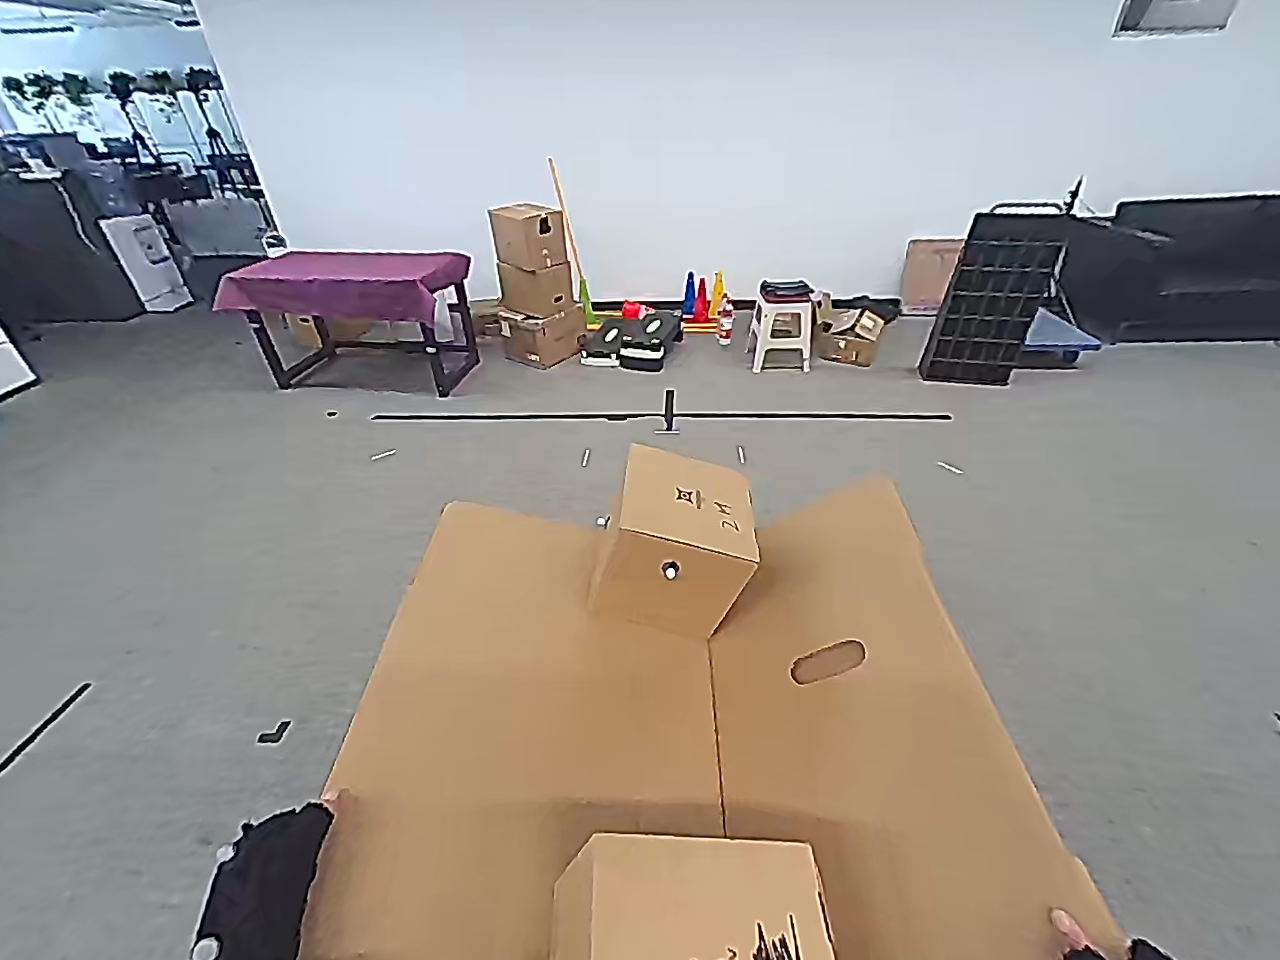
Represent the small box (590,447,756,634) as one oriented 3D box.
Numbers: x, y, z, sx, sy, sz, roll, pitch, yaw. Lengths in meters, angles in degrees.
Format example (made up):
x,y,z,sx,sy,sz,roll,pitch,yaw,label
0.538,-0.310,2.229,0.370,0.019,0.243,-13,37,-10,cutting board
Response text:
x,y,z,sx,sy,sz,roll,pitch,yaw,label
0.039,0.086,0.738,0.179,0.176,0.168,16,40,-7,small box
